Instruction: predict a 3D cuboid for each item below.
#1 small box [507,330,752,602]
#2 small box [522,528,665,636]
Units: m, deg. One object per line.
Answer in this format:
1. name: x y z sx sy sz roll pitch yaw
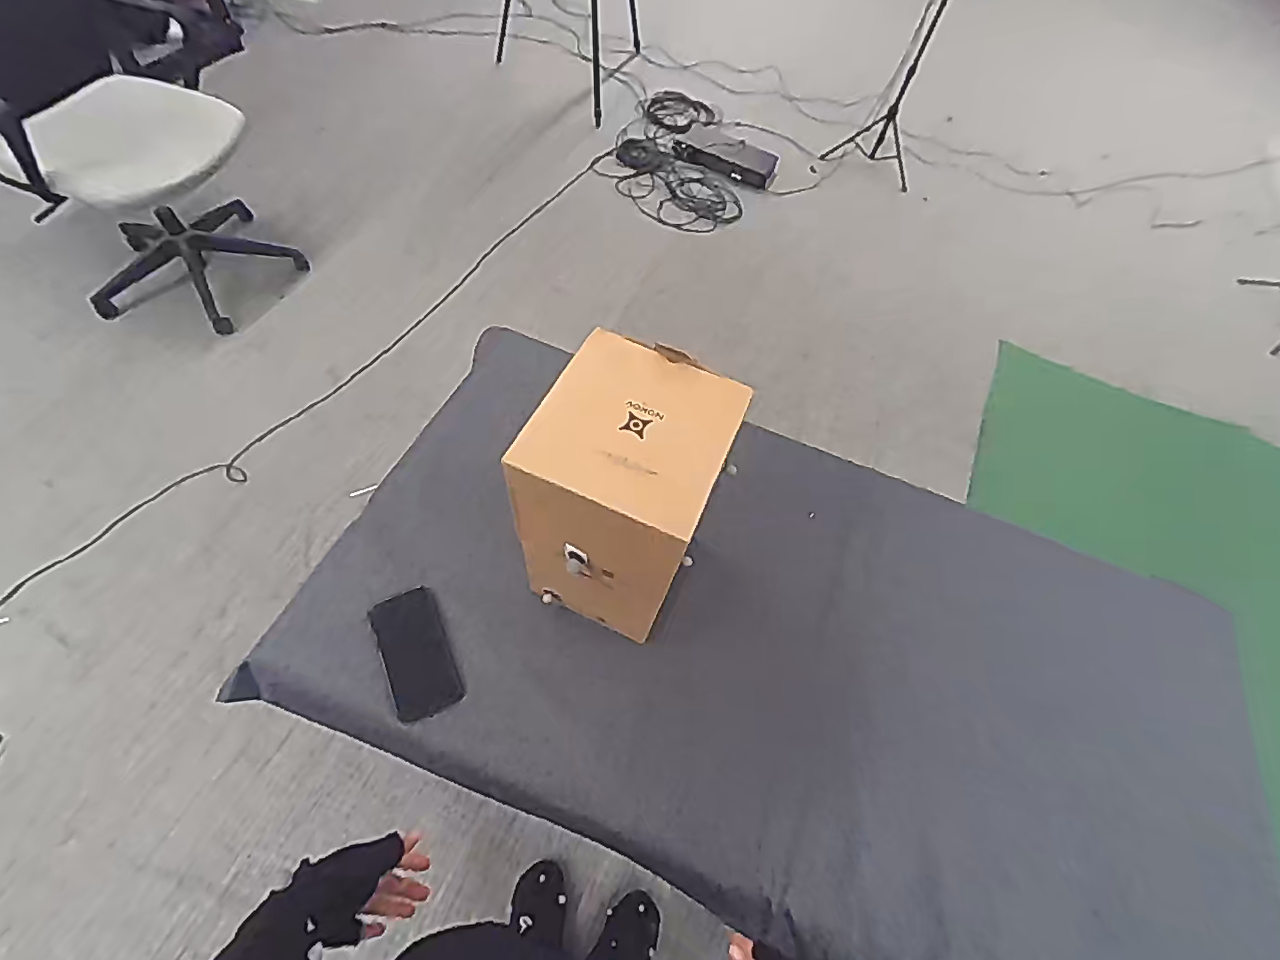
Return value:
1. small box: -0.011 -0.008 0.536 0.168 0.176 0.179 23 60 7
2. small box: -0.027 0.071 0.677 0.168 0.176 0.179 24 58 7
